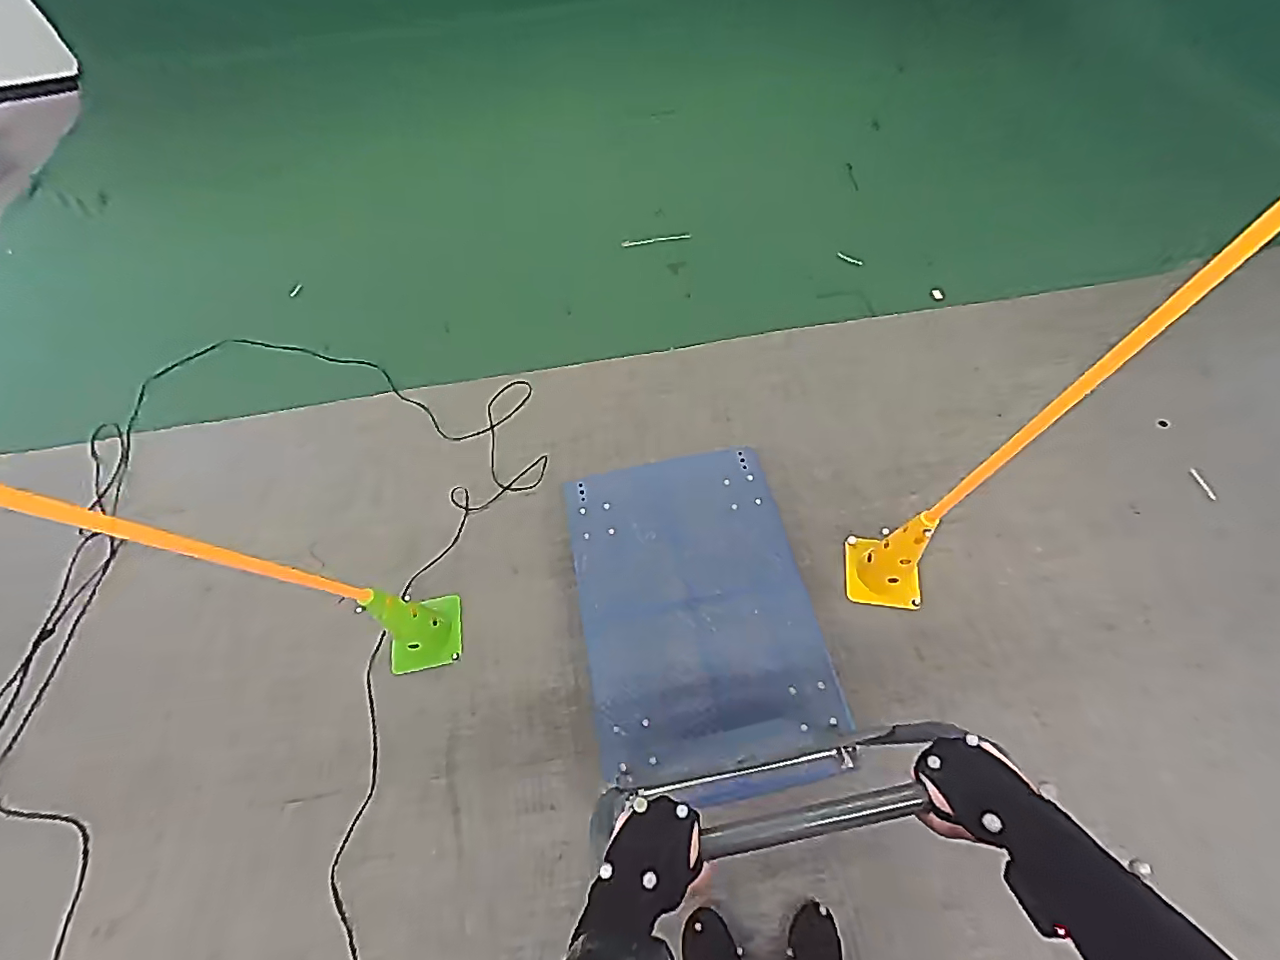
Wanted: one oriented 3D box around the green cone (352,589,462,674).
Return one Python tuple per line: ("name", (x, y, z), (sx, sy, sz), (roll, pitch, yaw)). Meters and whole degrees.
("green cone", (-0.635, 0.359, 1.422), (0.202, 0.368, 0.200), (-13, 59, -1))
